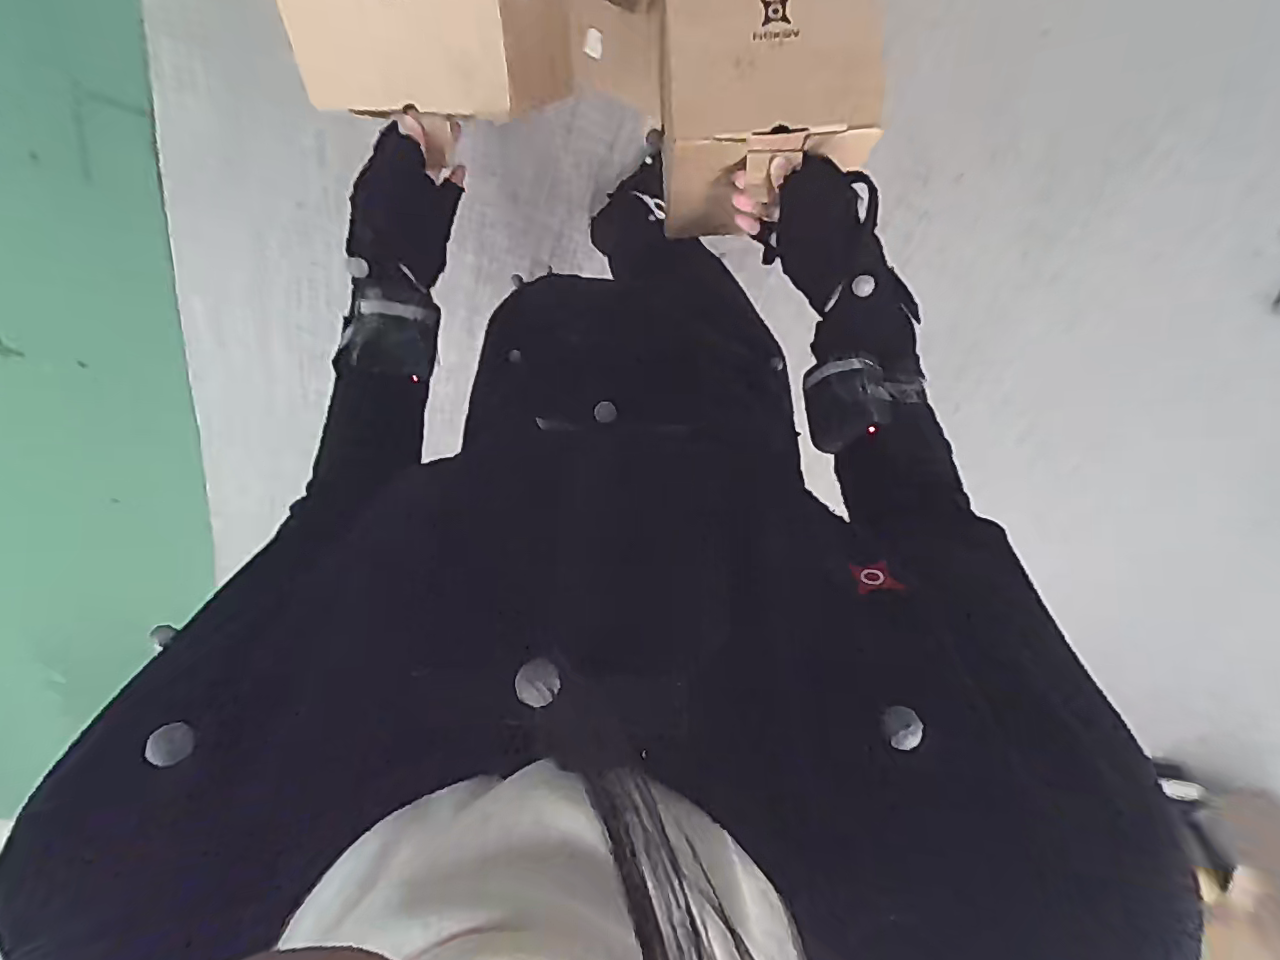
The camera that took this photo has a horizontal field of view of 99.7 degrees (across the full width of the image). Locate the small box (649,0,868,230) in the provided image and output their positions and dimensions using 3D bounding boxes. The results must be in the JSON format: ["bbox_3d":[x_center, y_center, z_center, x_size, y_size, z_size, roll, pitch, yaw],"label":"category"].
[{"bbox_3d":[0.096,-0.352,0.502,0.168,0.176,0.179,-4,89,3],"label":"small box"}]

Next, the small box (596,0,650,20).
[{"bbox_3d":[-0.047,-0.681,0.635,0.179,0.176,0.168,16,131,-9],"label":"small box"}]
